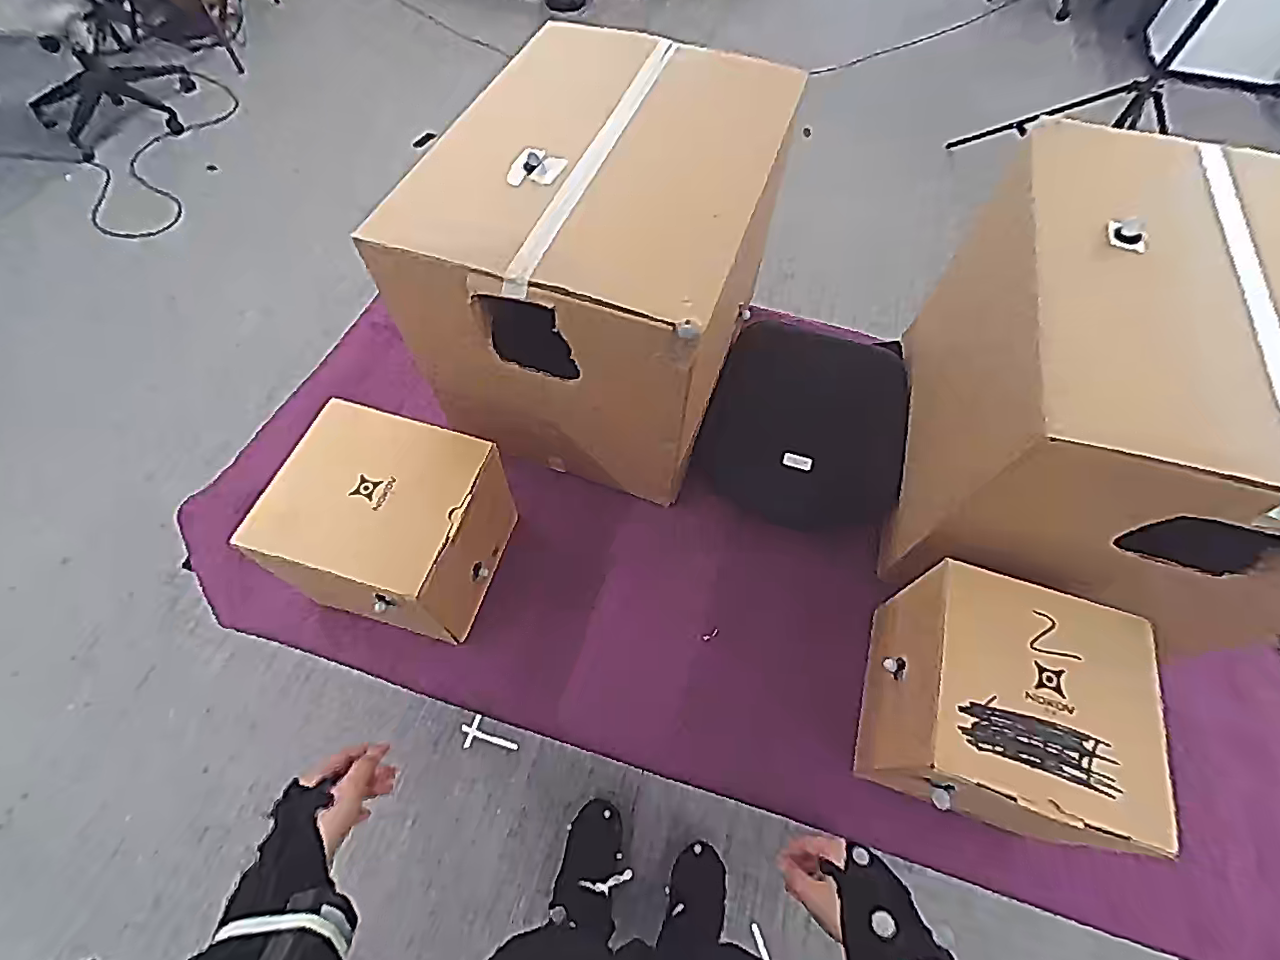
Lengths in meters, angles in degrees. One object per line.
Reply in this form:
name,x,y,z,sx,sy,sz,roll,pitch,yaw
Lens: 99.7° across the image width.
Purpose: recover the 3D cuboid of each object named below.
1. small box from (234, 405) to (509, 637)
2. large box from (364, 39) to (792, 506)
small box,-0.257,0.052,0.572,0.179,0.176,0.168,15,61,3
large box,-0.038,-0.240,0.664,0.320,0.320,0.408,17,65,9
